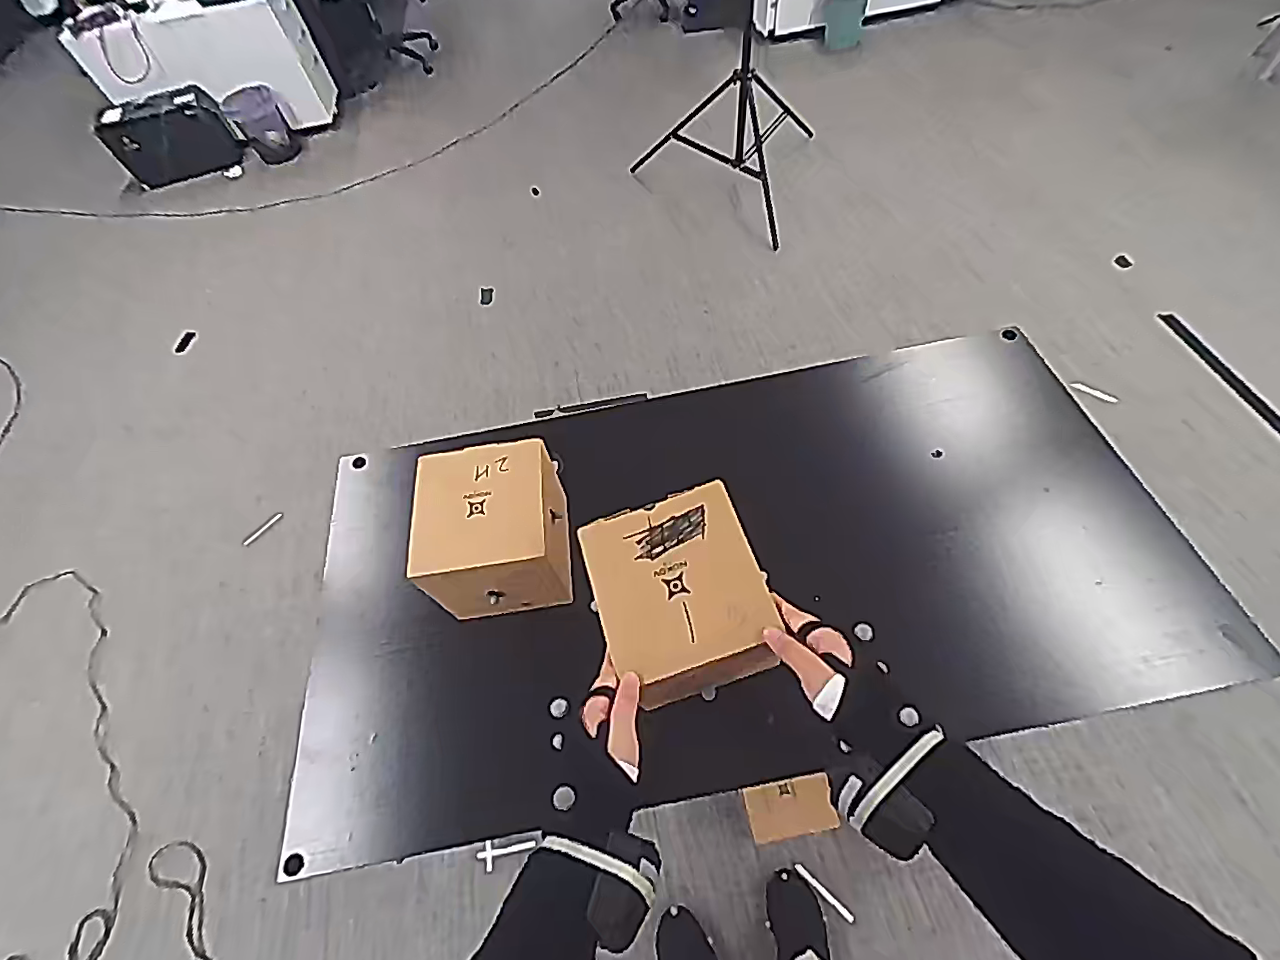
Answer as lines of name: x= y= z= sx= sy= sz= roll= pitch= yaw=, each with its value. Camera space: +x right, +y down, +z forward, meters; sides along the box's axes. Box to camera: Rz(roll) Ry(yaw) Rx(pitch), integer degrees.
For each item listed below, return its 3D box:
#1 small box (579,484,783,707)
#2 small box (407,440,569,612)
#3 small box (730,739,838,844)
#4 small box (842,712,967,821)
small box: x=0.045 y=0.136 z=0.609 sx=0.168 sy=0.176 sz=0.179 roll=-19 pitch=60 yaw=0
small box: x=-0.196 y=0.072 z=0.744 sx=0.168 sy=0.176 sz=0.179 roll=-9 pitch=58 yaw=0
small box: x=0.302 y=0.676 z=1.178 sx=0.179 sy=0.176 sz=0.168 roll=-12 pitch=57 yaw=0
small box: x=0.560 y=0.626 z=1.177 sx=0.168 sy=0.176 sz=0.179 roll=-13 pitch=58 yaw=-1
